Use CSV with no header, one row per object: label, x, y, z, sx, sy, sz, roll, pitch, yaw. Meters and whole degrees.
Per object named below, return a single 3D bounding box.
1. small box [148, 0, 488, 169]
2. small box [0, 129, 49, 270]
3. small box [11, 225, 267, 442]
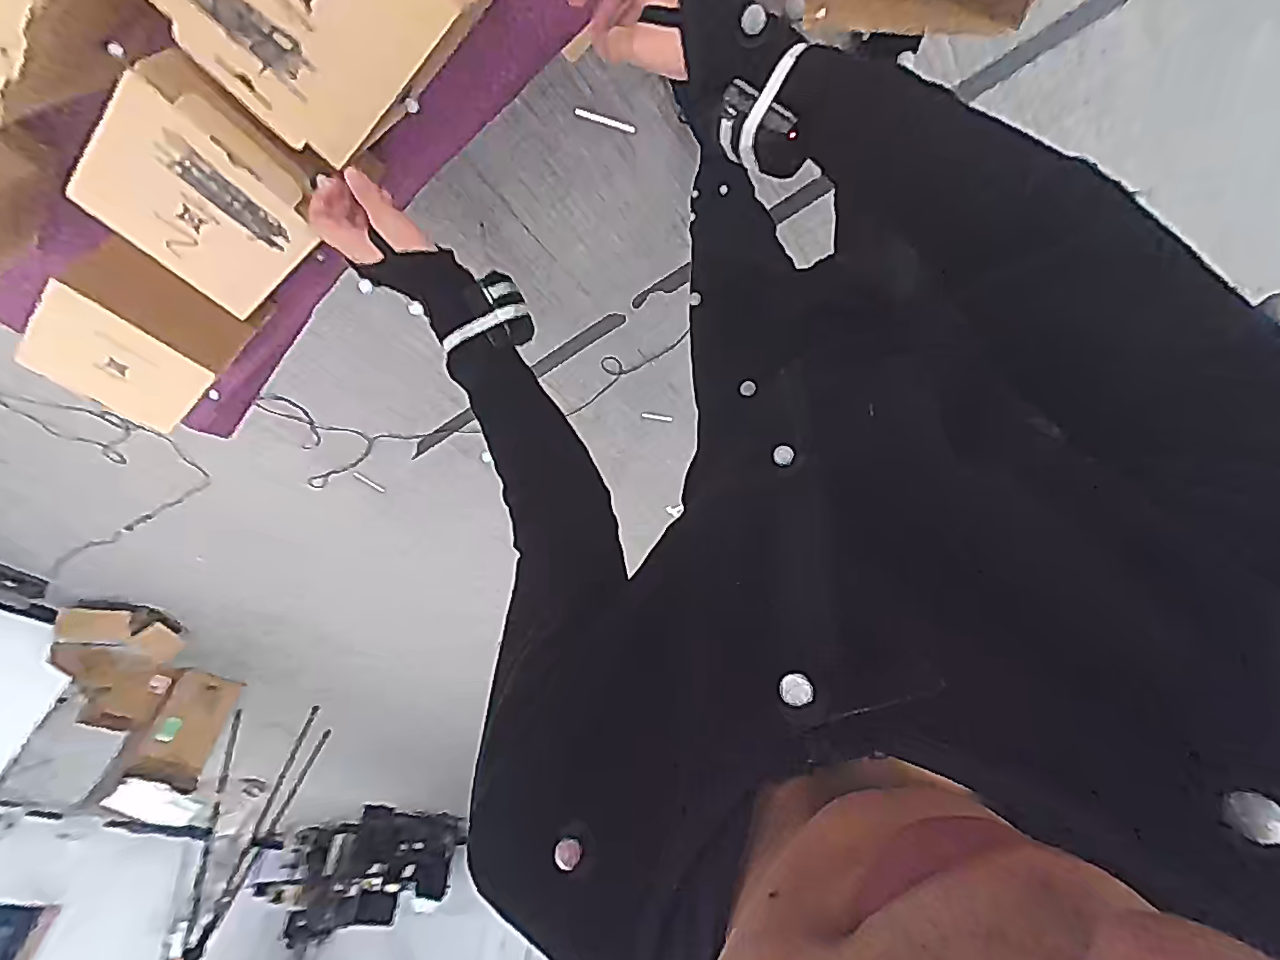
small box,-0.247,-0.408,0.442,0.179,0.176,0.168,-27,131,29
small box,-0.793,-0.308,0.568,0.179,0.176,0.168,-29,131,29
small box,-0.633,-0.187,0.703,0.179,0.176,0.168,-27,132,28
